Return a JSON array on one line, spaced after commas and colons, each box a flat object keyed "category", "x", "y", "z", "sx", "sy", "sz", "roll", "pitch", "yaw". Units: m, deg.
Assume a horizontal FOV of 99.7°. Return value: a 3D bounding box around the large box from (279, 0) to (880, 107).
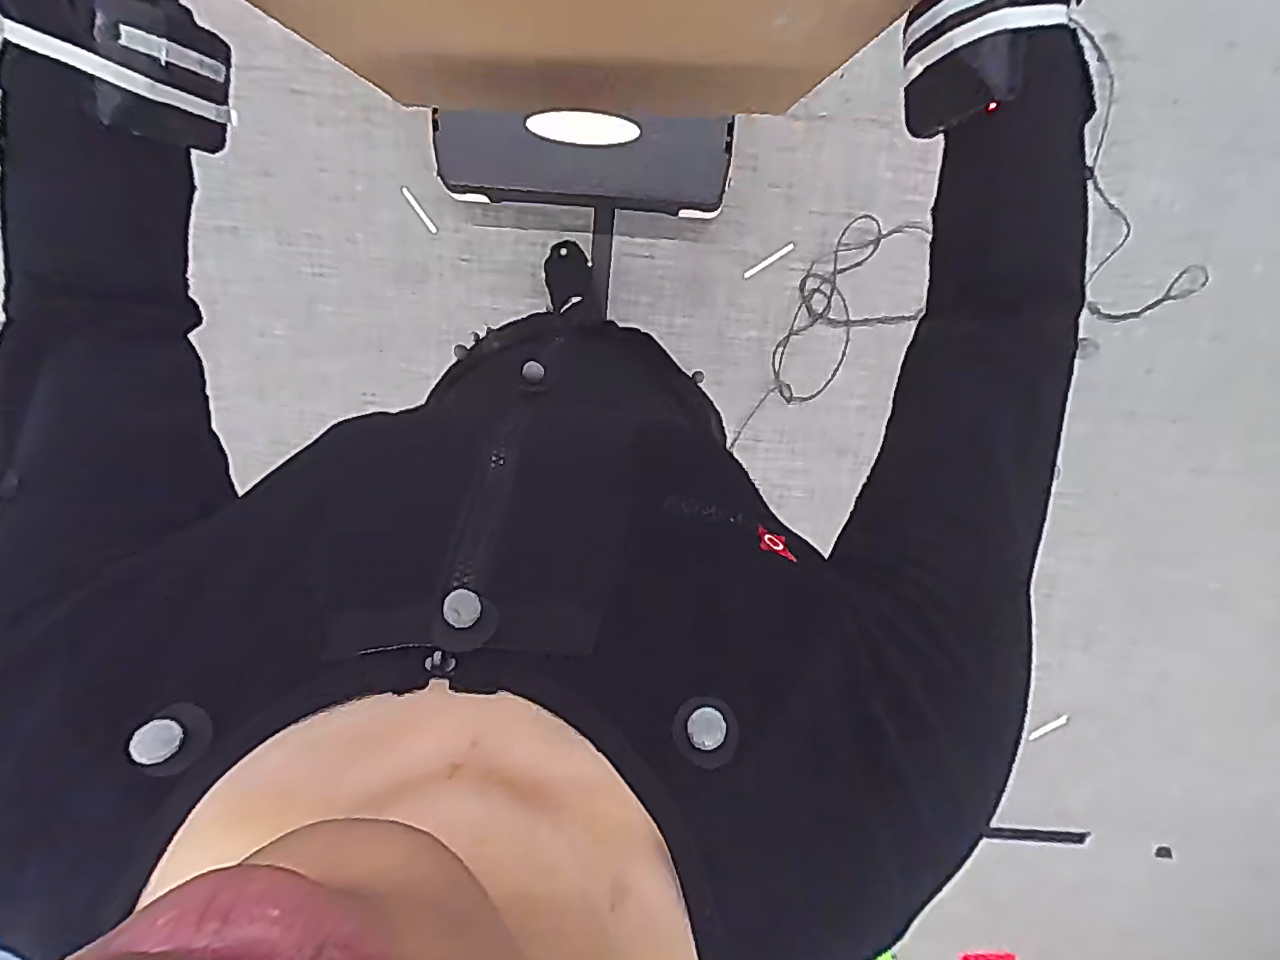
[{"category": "large box", "x": -0.042, "y": -0.479, "z": 0.371, "sx": 0.408, "sy": 0.320, "sz": 0.320, "roll": -1, "pitch": 113, "yaw": -2}]
